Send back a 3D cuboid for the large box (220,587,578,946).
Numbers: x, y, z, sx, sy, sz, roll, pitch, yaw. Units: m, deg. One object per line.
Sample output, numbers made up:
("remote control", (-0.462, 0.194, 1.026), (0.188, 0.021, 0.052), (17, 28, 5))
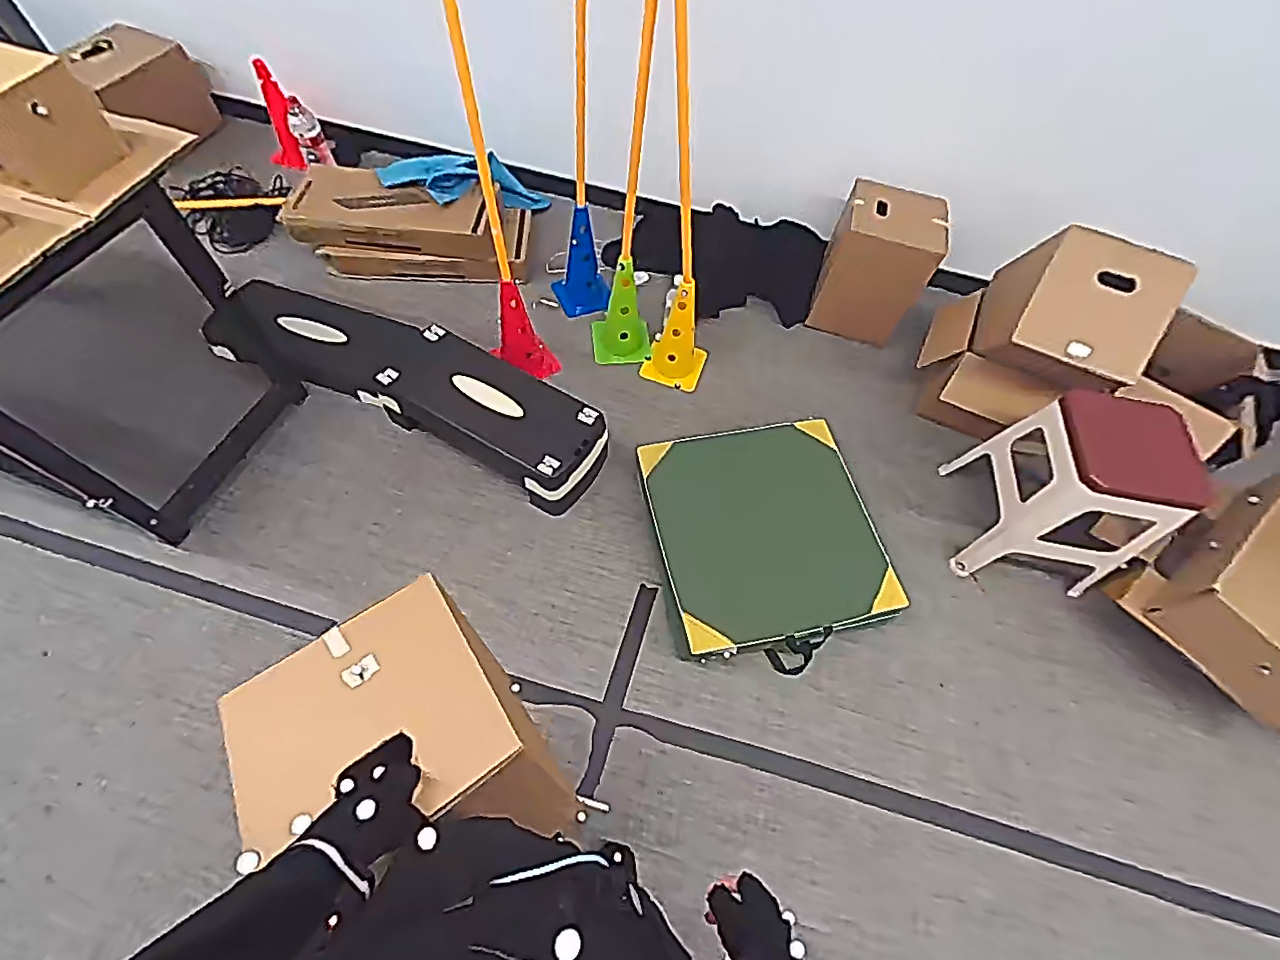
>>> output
("large box", (-0.341, 0.441, 0.843), (0.320, 0.408, 0.320), (-32, 54, -17))
